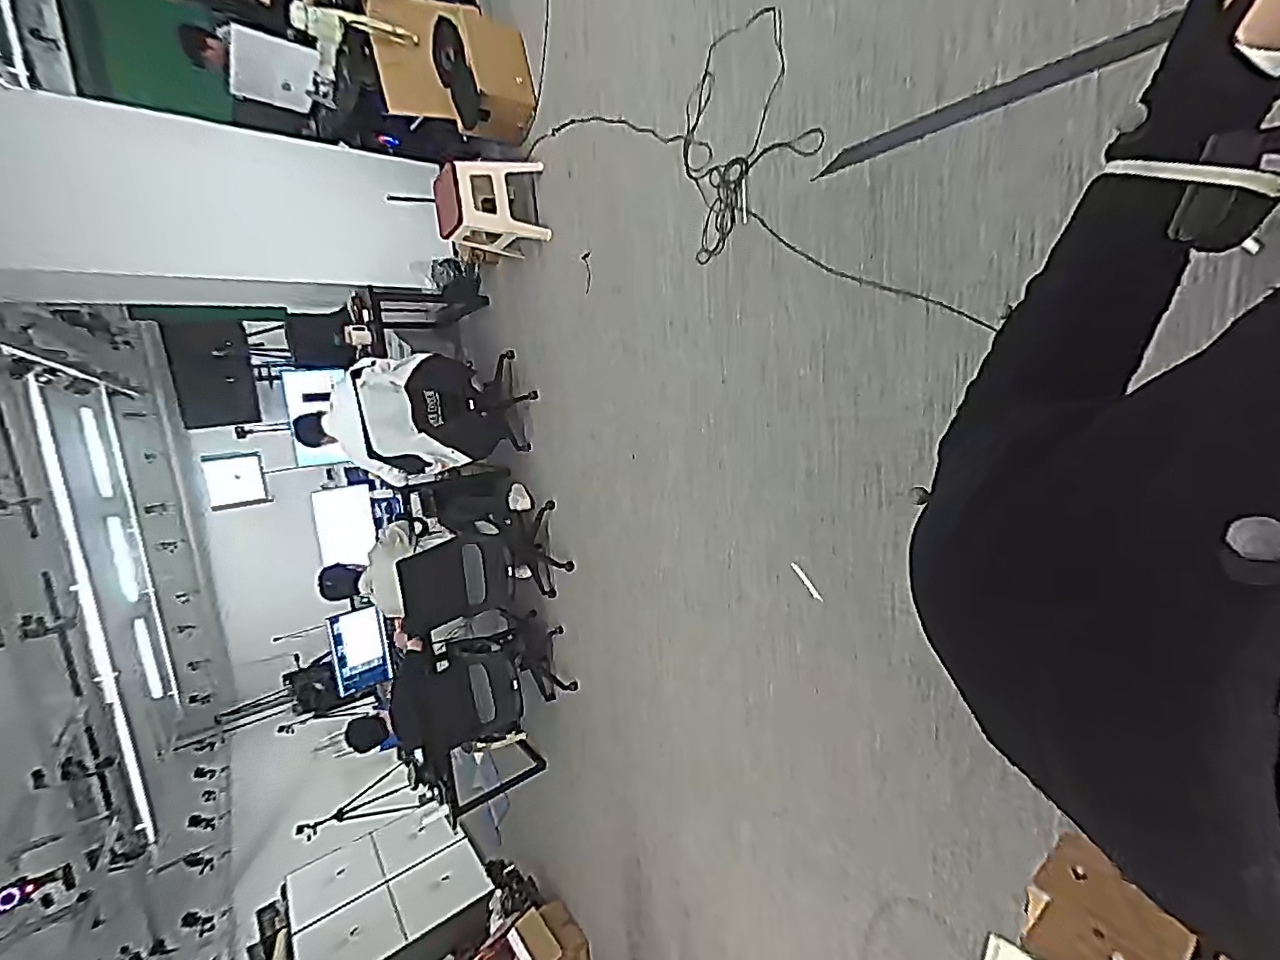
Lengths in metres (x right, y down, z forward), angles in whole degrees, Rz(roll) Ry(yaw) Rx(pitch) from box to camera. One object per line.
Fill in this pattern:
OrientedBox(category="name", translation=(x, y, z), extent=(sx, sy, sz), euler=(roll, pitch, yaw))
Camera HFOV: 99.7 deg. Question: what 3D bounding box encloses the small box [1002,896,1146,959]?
OrientedBox(category="small box", translation=(0.620, 0.756, 0.762), extent=(0.168, 0.176, 0.179), euler=(20, 114, 51))
